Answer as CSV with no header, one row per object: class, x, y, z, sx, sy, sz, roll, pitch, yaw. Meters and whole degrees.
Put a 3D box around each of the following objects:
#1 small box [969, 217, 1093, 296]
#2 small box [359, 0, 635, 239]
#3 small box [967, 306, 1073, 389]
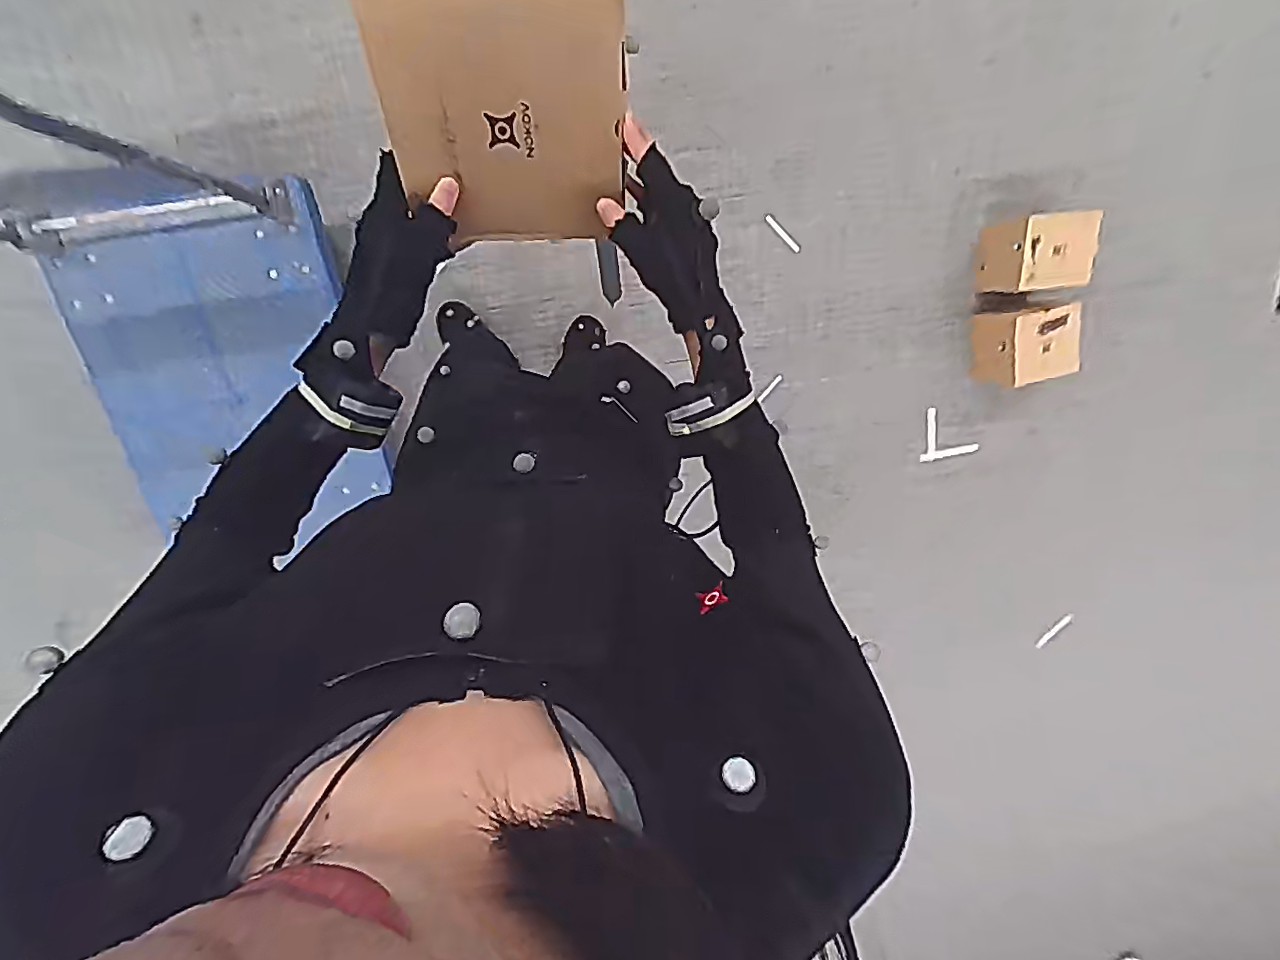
small box,0.969,-0.555,1.354,0.179,0.176,0.168,-5,107,-3
small box,-0.098,-0.320,0.449,0.179,0.176,0.168,-2,138,-3
small box,0.990,-0.352,1.421,0.168,0.176,0.179,-13,109,1
